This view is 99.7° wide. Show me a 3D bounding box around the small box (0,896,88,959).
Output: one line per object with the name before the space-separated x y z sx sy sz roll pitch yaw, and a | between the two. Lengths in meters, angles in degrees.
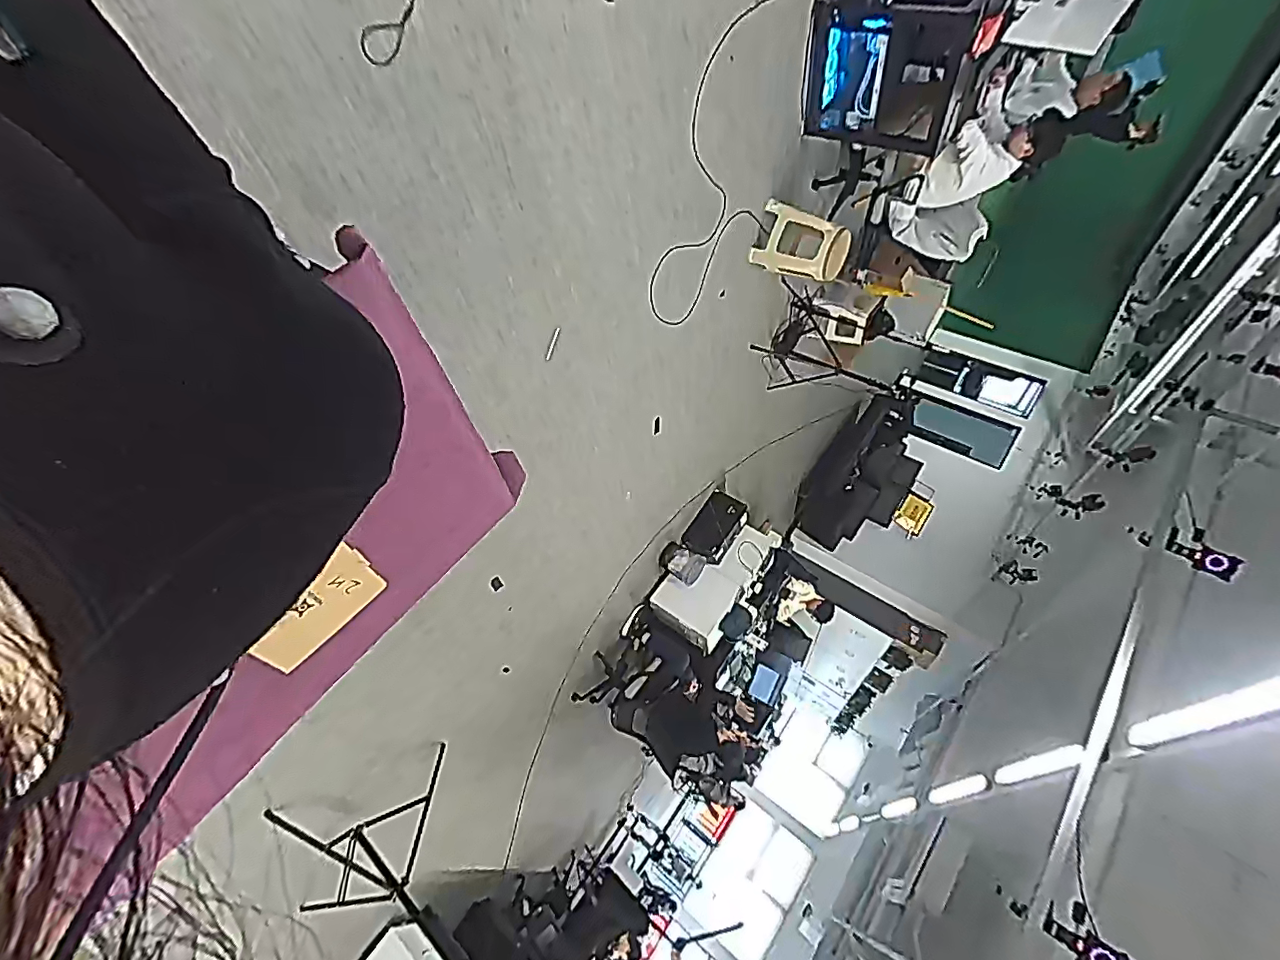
small box | -0.675 0.532 0.510 0.168 0.176 0.179 -46 151 -28

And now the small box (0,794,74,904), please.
small box | -0.802 0.464 0.587 0.168 0.176 0.179 -47 150 -26

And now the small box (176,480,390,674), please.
small box | -0.510 0.135 0.774 0.179 0.176 0.168 -47 151 -26
